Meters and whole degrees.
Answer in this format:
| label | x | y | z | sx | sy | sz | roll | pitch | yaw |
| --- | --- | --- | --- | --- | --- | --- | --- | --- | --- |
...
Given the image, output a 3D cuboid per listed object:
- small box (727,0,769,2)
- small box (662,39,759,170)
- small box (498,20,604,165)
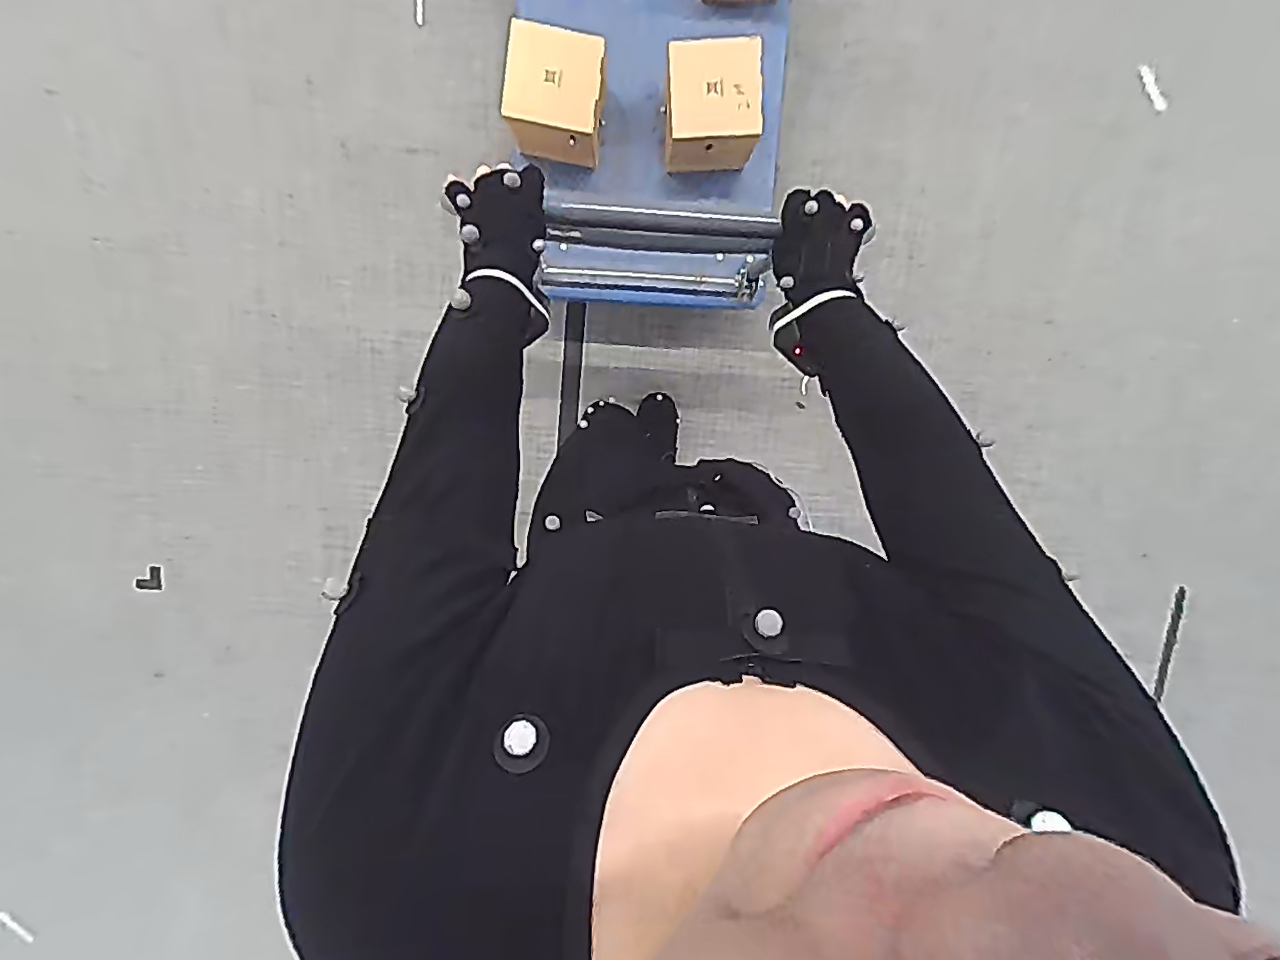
| label | x | y | z | sx | sy | sz | roll | pitch | yaw |
| --- | --- | --- | --- | --- | --- | --- | --- | --- | --- |
| small box | 0.203 | -1.066 | 1.028 | 0.168 | 0.176 | 0.179 | -1 | 101 | -2 |
| small box | 0.135 | -0.741 | 1.085 | 0.179 | 0.176 | 0.168 | -3 | 101 | -1 |
| small box | -0.170 | -0.754 | 1.074 | 0.179 | 0.176 | 0.168 | 9 | 100 | -5 |
